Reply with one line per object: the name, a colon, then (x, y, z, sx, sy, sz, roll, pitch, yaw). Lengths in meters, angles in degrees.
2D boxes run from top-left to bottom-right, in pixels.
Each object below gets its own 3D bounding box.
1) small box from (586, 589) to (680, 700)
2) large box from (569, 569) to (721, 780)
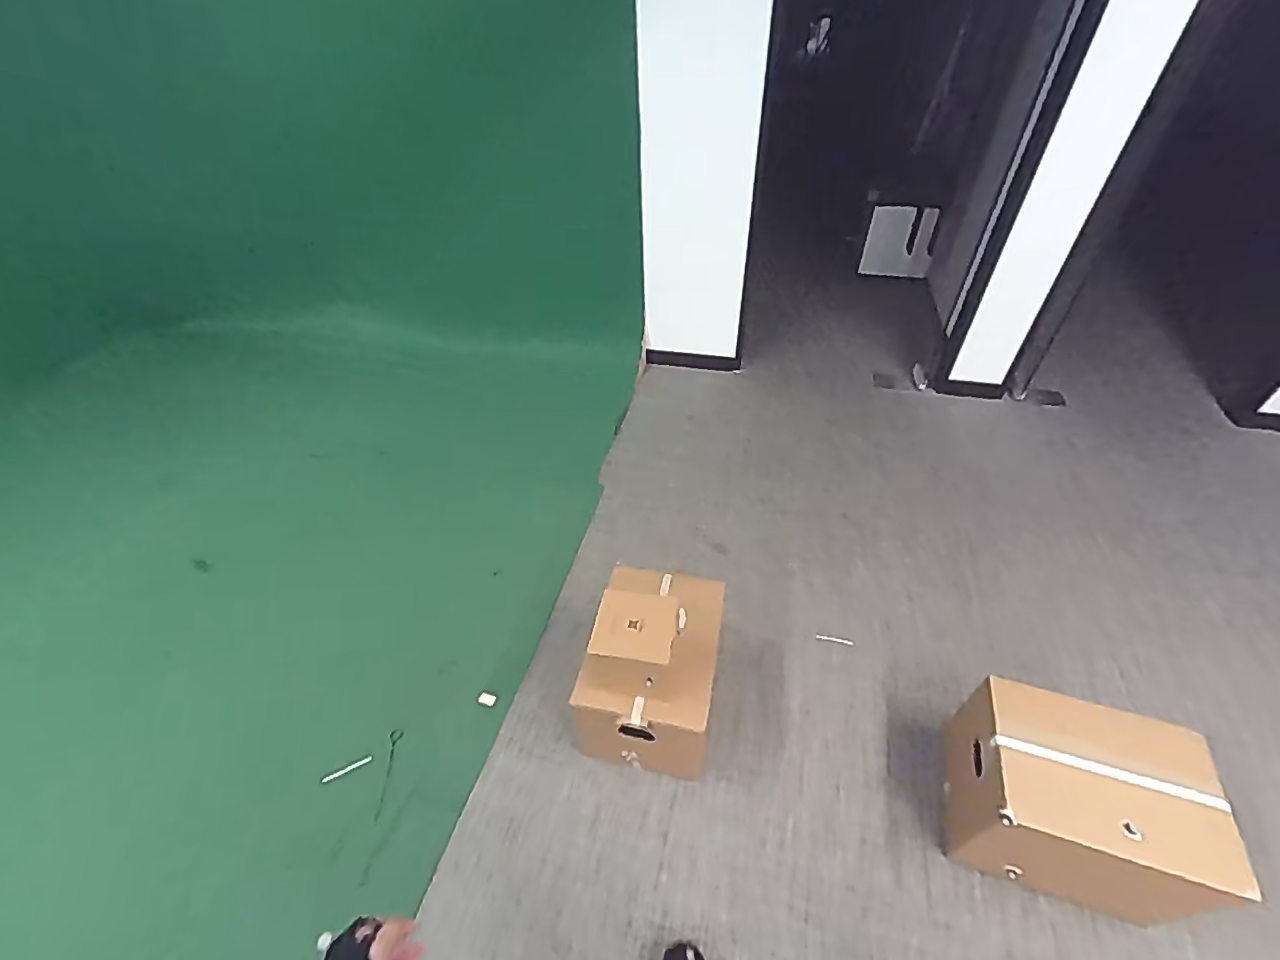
small box: (-0.008, 0.373, 1.217, 0.179, 0.176, 0.168, 6, 43, 11)
large box: (0.033, 0.506, 1.431, 0.320, 0.320, 0.408, 8, 43, 11)
